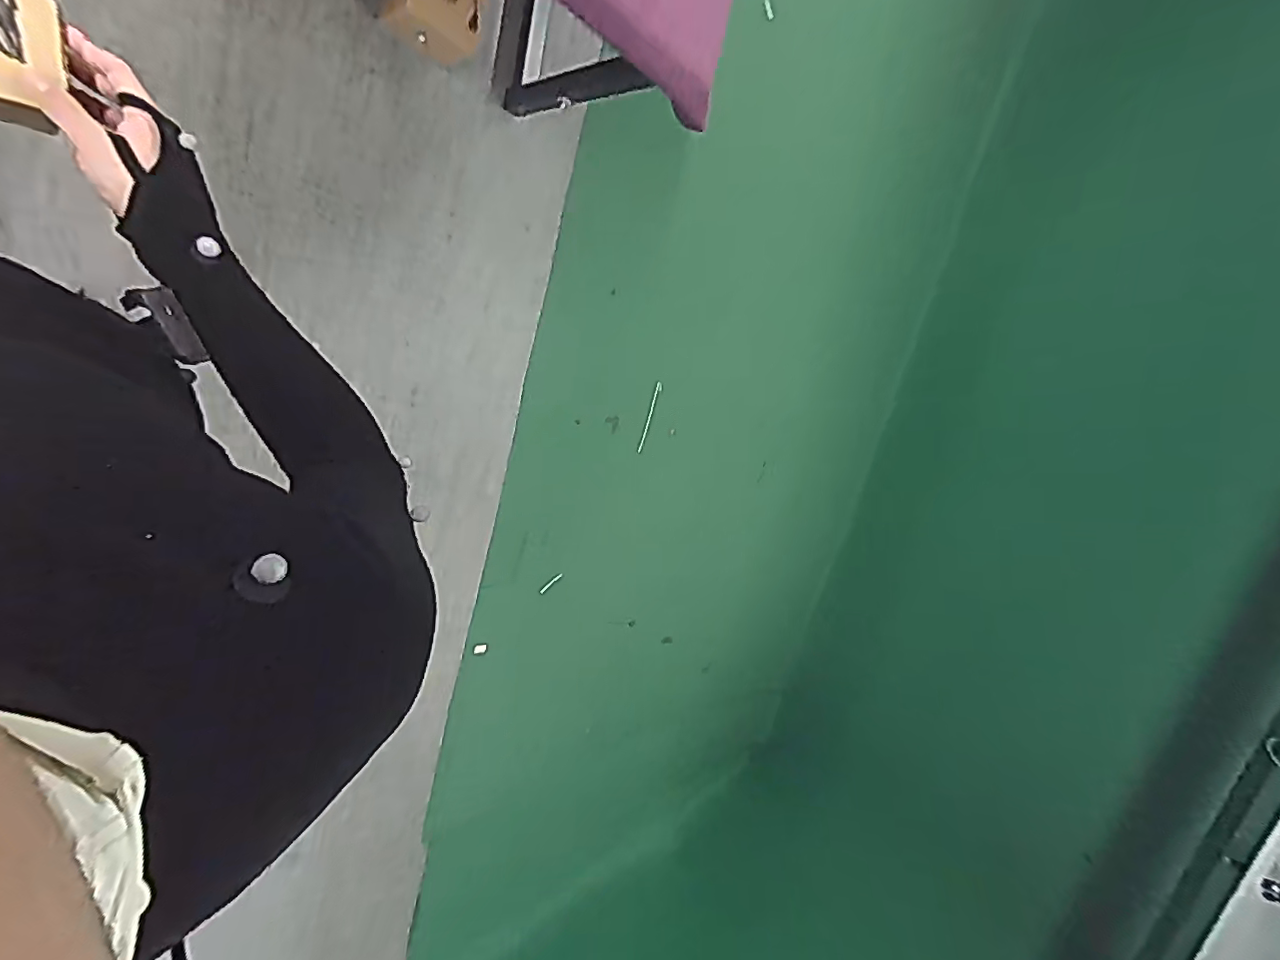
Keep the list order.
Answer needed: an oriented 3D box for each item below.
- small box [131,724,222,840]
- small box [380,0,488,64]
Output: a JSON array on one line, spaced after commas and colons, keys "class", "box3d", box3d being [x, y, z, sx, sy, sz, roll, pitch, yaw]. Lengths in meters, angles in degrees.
[{"class": "small box", "box3d": [-1.234, 0.792, 1.437, 0.168, 0.176, 0.179, 2, 108, -47]}, {"class": "small box", "box3d": [-0.478, -1.110, 1.255, 0.179, 0.176, 0.168, 6, 105, -47]}]
